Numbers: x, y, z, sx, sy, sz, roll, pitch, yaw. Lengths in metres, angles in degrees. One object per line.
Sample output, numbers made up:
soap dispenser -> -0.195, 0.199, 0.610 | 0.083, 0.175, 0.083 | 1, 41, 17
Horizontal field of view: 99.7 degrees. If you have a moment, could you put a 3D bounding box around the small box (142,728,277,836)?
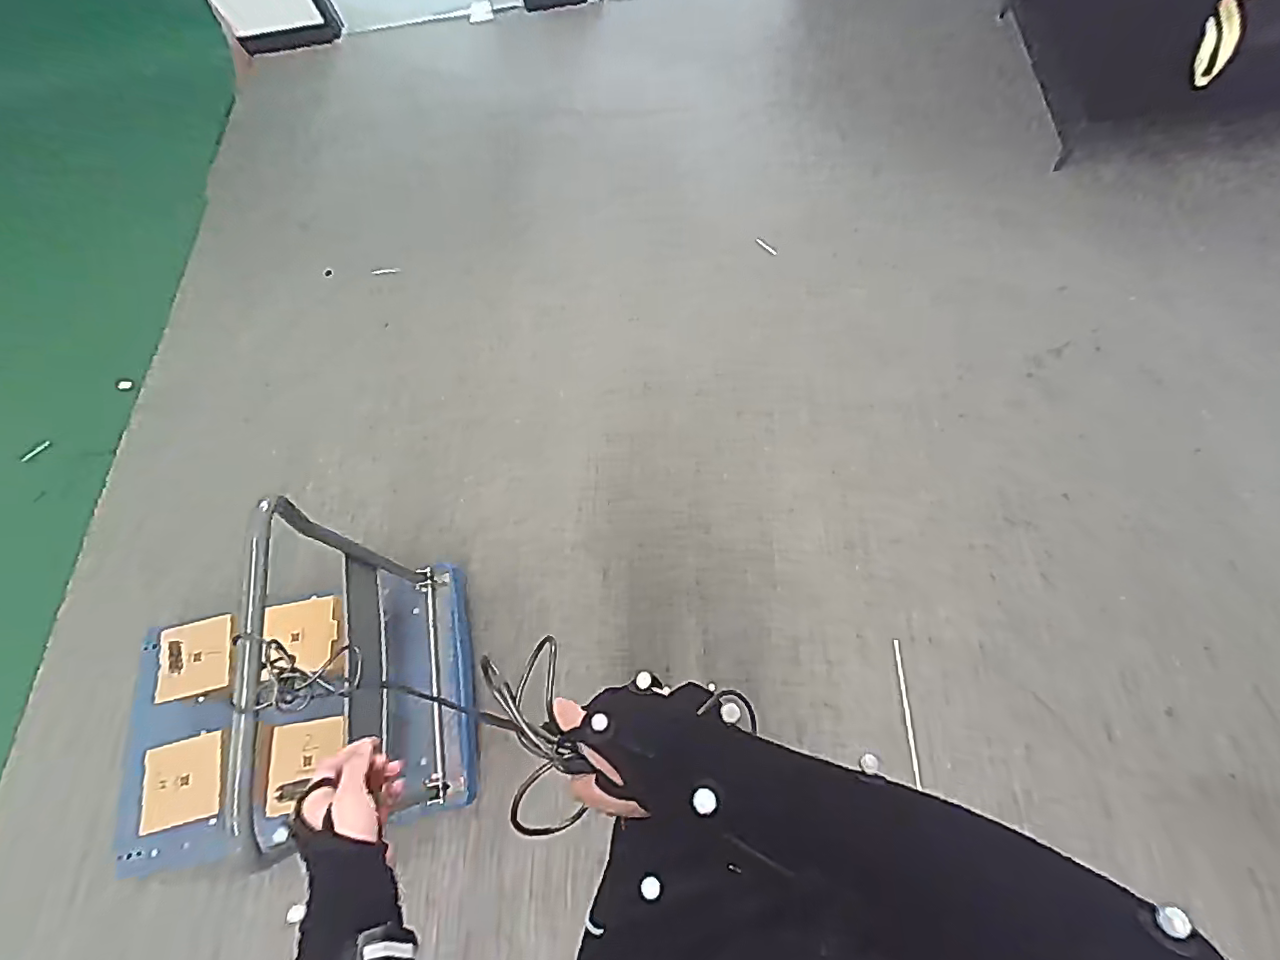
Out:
small box -> -0.960, 0.673, 1.224 | 0.179, 0.176, 0.168 | -16, 68, 1

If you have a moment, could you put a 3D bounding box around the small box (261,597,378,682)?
small box -> -0.768, 0.390, 1.309 | 0.179, 0.176, 0.168 | -12, 69, 4

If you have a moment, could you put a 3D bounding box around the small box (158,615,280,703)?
small box -> -1.010, 0.440, 1.318 | 0.179, 0.176, 0.168 | -14, 69, 1
